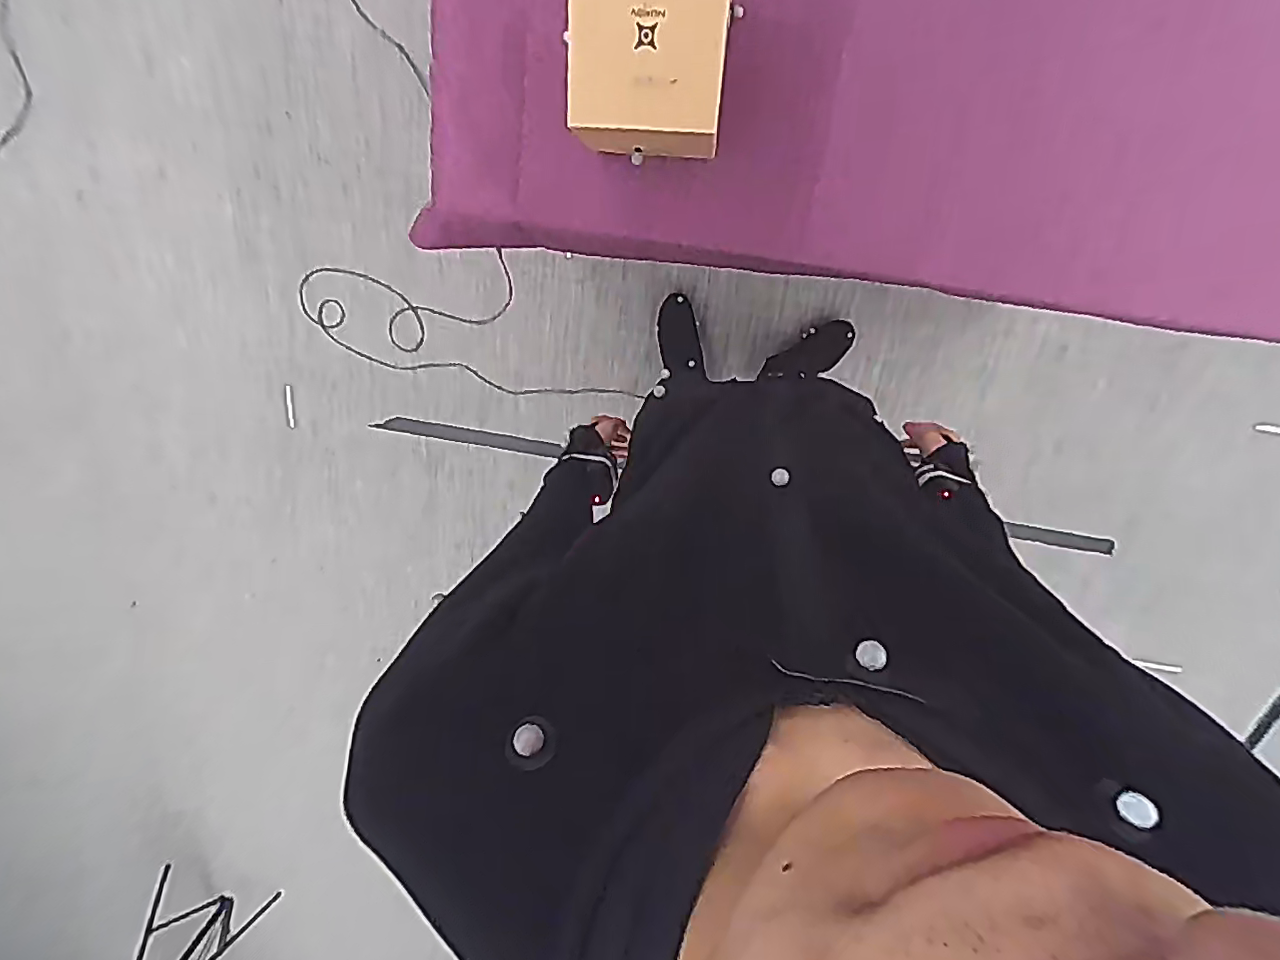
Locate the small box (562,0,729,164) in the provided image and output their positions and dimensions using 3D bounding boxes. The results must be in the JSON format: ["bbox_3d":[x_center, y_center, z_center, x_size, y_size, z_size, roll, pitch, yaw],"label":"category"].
[{"bbox_3d":[0.011,-0.482,0.620,0.168,0.176,0.179,6,113,4],"label":"small box"}]
